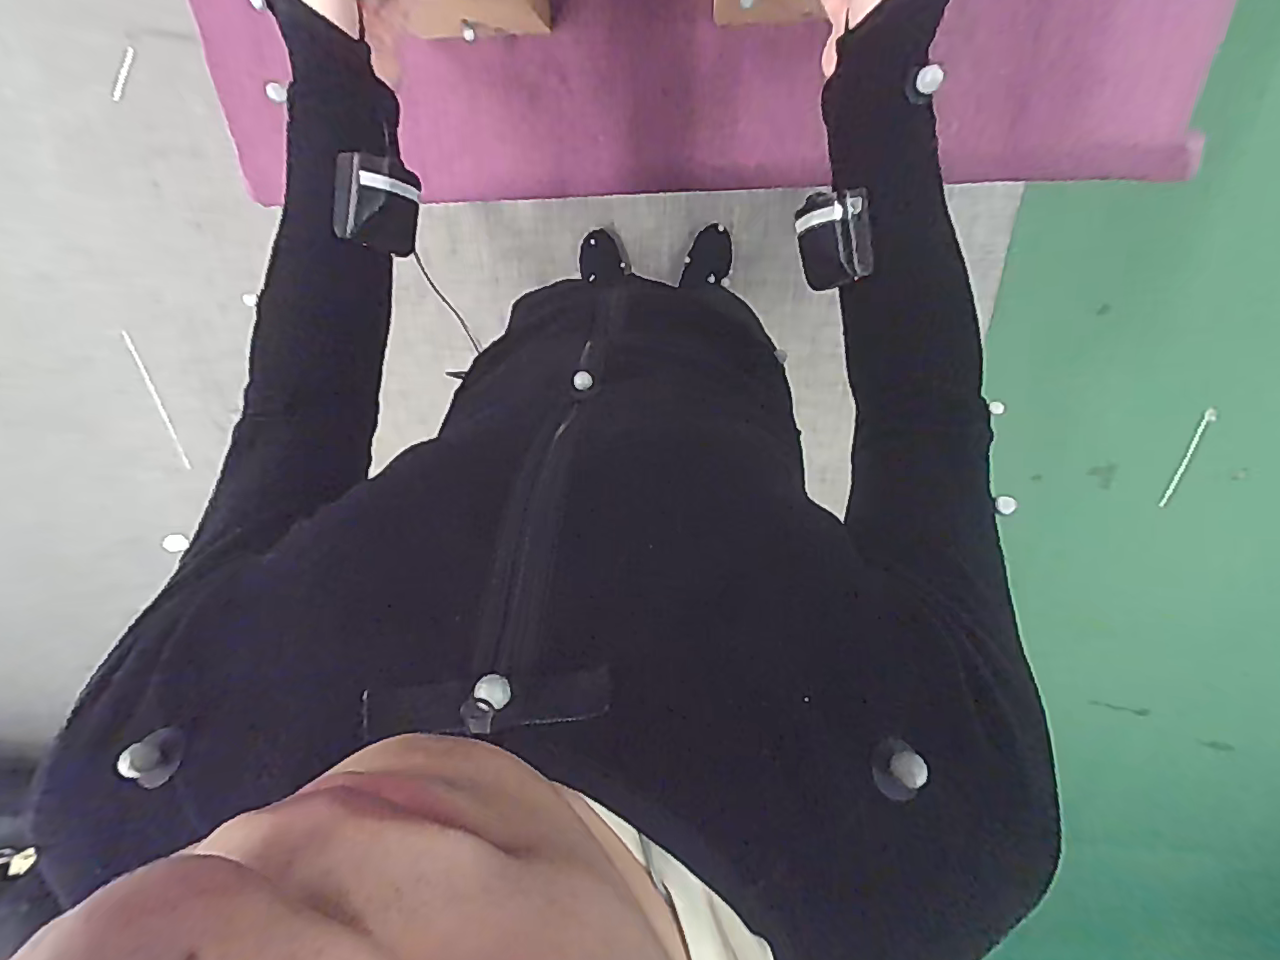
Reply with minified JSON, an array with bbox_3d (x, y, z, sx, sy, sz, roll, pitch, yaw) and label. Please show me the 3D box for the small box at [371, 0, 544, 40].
[{"bbox_3d":[-0.200,-0.575,0.542,0.168,0.176,0.179,1,118,4],"label":"small box"}]
